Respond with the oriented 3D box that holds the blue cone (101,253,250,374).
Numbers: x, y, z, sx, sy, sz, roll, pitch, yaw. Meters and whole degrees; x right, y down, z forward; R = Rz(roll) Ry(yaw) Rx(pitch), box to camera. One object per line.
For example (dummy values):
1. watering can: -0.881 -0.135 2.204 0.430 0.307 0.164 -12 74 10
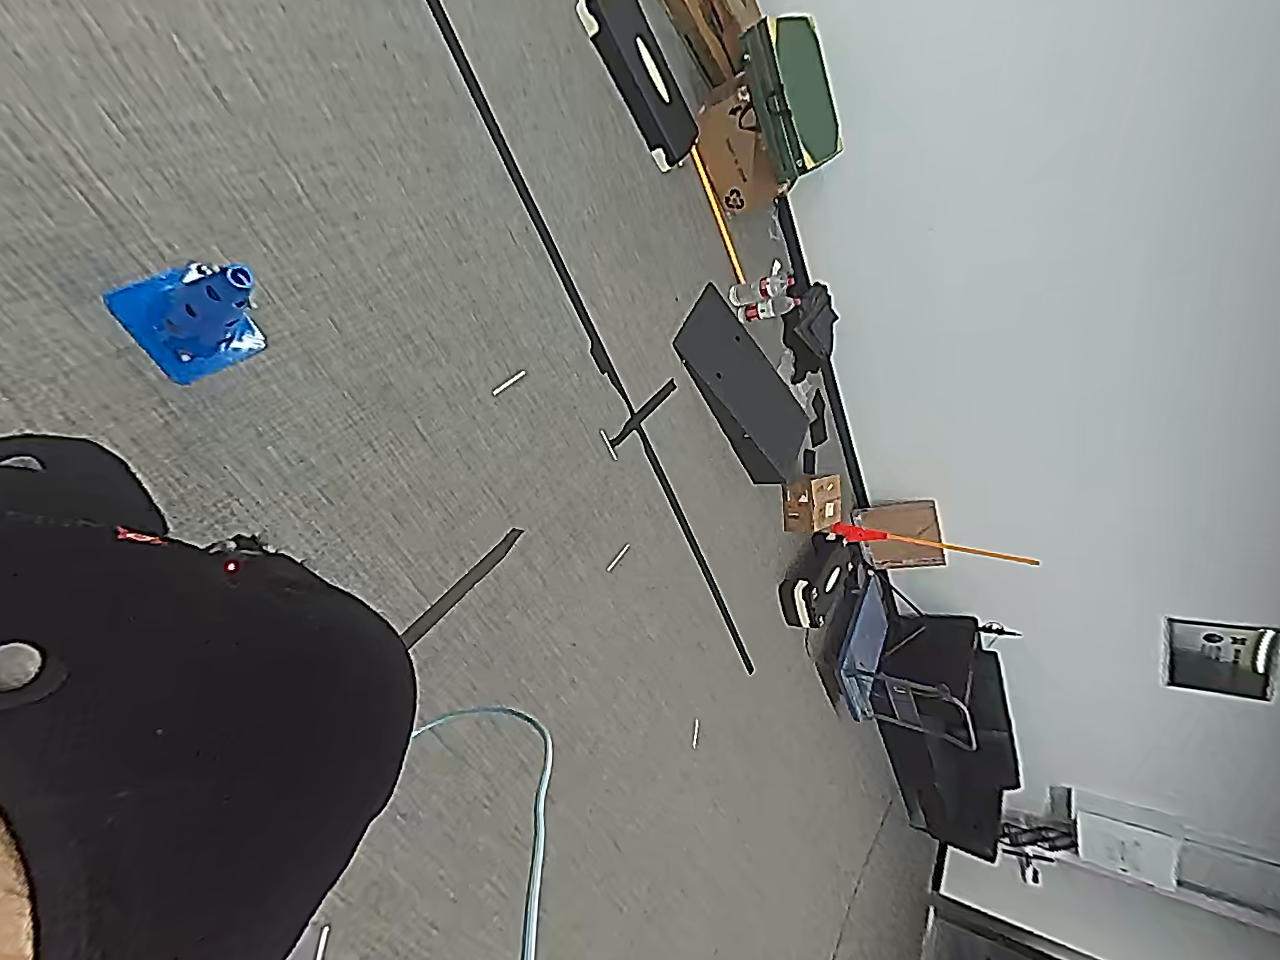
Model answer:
1. blue cone: -0.804 -0.332 0.991 0.193 0.380 0.192 -48 123 -40
